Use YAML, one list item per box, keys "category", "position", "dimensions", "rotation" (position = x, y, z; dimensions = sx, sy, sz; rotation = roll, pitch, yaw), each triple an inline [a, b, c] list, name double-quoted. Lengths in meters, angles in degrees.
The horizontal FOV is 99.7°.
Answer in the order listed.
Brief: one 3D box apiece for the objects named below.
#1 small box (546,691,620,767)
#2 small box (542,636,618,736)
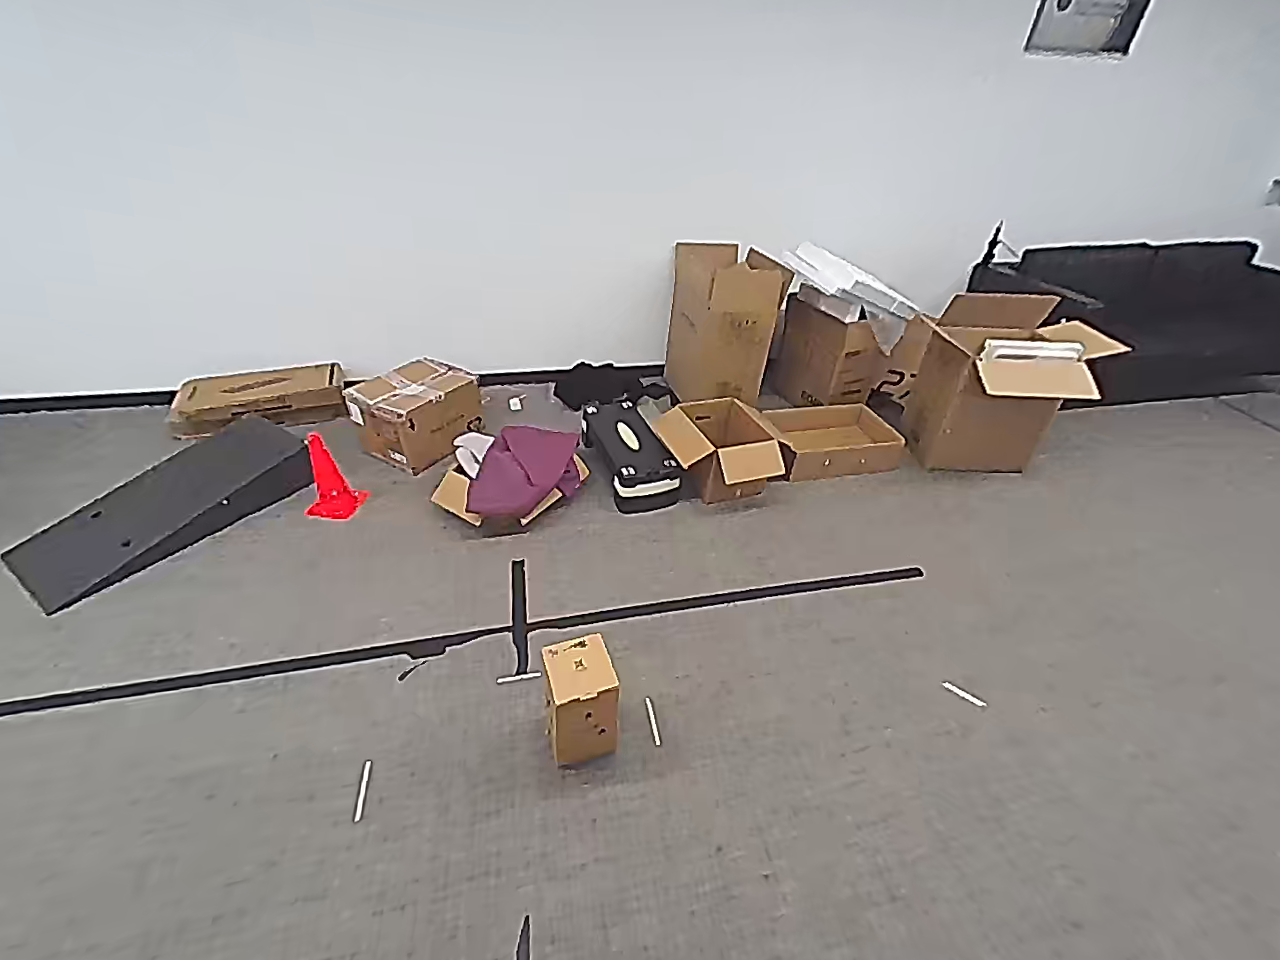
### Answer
- category: "small box"
  position: [-0.166, 0.678, 1.535]
  dimensions: [0.179, 0.176, 0.168]
  rotation: [-9, 38, -16]
- category: "small box"
  position: [-0.158, 0.551, 1.432]
  dimensions: [0.168, 0.176, 0.179]
  rotation: [-10, 39, -17]
